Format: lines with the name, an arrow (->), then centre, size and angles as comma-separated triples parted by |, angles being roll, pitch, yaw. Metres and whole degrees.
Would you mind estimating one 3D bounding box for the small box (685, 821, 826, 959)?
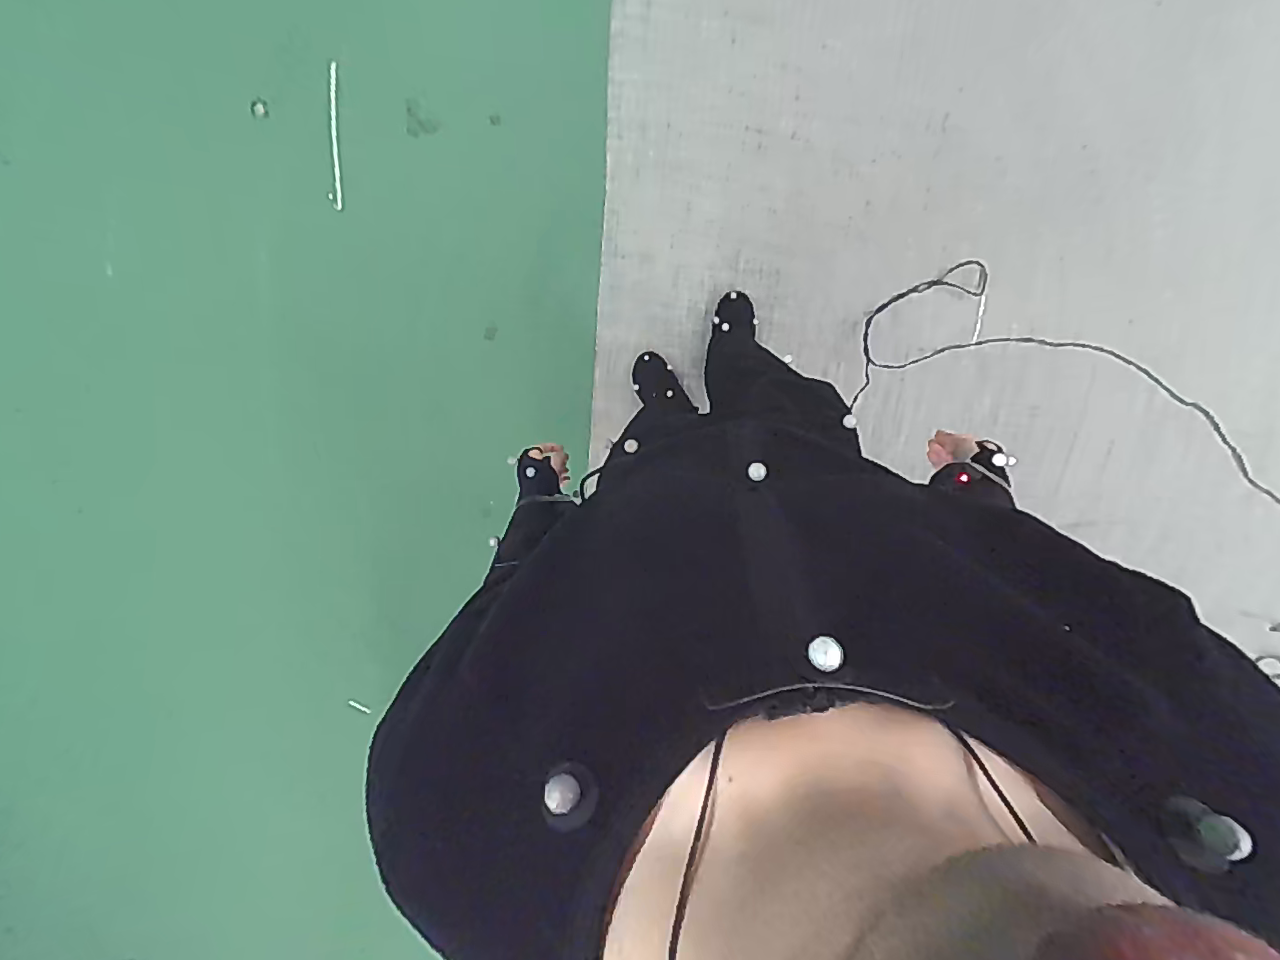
small box -> 0.165, 0.658, 0.827 | 0.179, 0.176, 0.168 | 5, 105, 0
